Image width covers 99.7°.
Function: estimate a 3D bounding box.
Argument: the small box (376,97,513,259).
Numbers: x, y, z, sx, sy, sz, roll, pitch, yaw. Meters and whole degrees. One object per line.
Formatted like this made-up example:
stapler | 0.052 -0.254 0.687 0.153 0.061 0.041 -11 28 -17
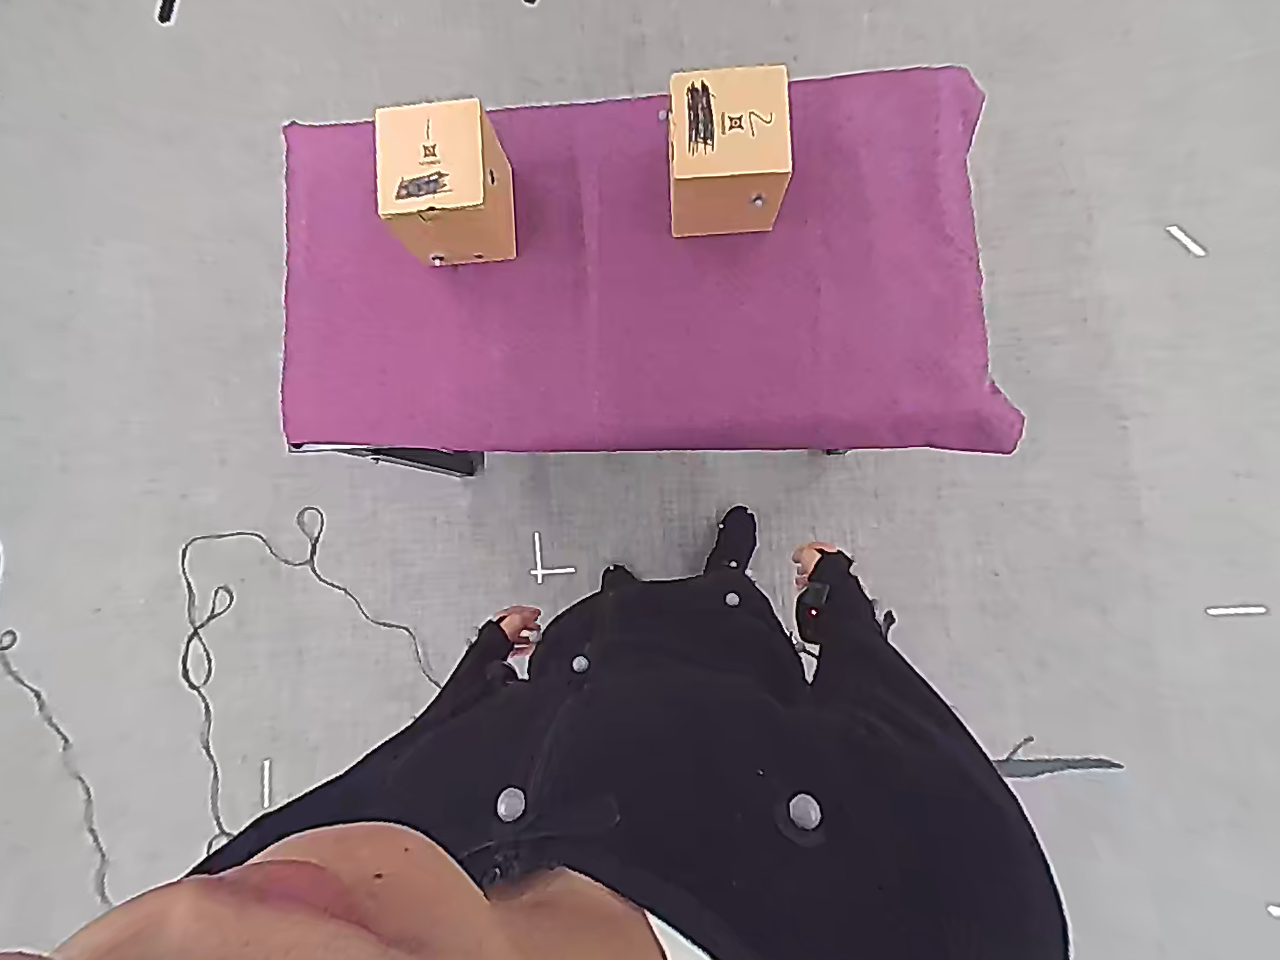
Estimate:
small box | -0.315 -0.486 0.899 0.168 0.176 0.179 -4 85 3
